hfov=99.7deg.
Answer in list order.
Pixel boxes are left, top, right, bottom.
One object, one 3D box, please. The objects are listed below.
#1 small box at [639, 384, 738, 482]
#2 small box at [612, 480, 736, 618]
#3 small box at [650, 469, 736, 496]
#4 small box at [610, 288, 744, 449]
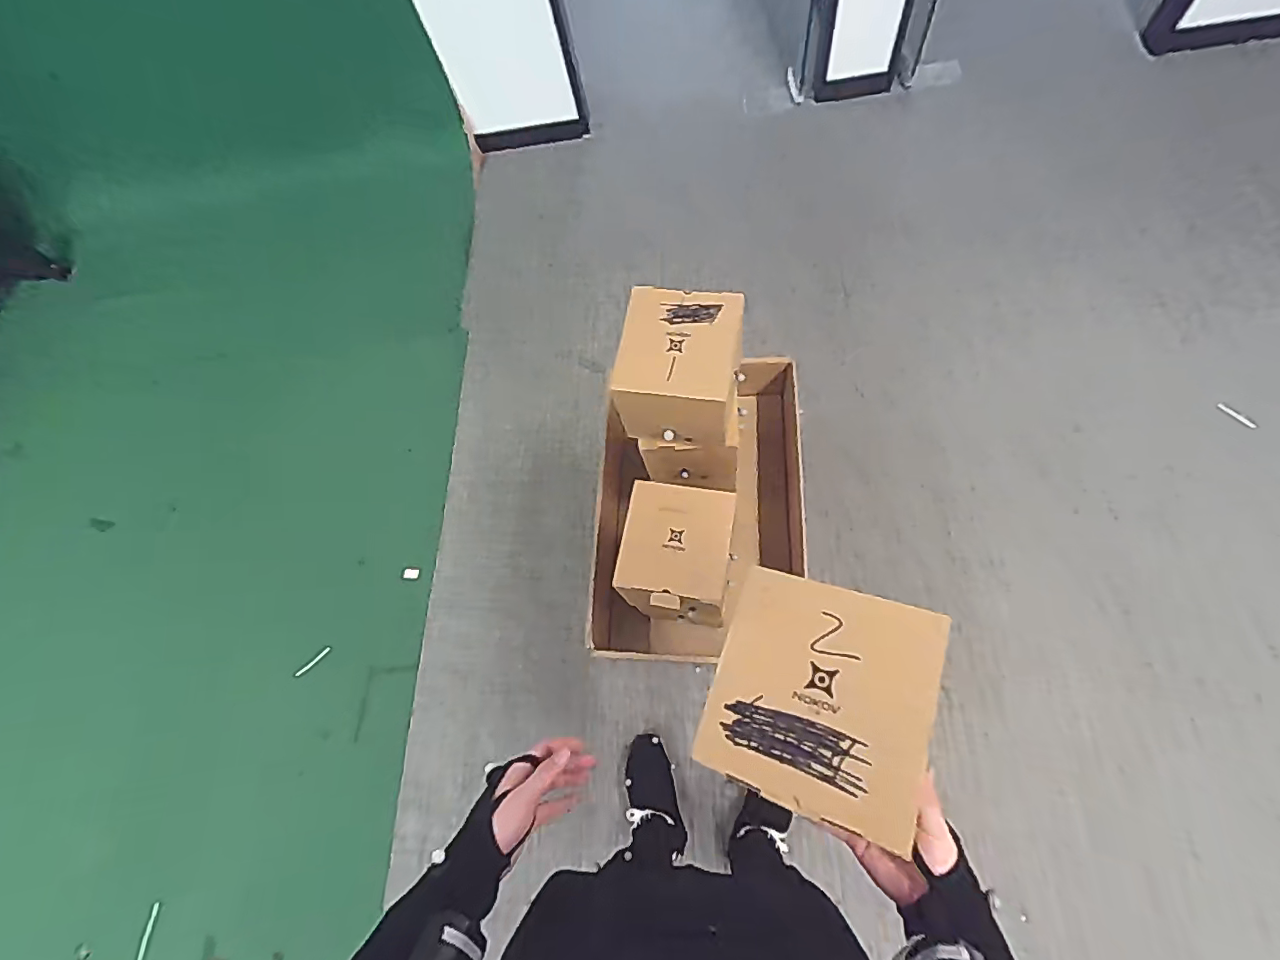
[{"bbox_3d":[0.091,-0.106,0.986,0.168,0.176,0.179,-1,70,8],"label":"small box"},{"bbox_3d":[0.064,0.120,0.894,0.168,0.176,0.179,8,68,12],"label":"small box"},{"bbox_3d":[0.116,-0.051,1.137,0.168,0.176,0.179,-1,70,9],"label":"small box"},{"bbox_3d":[0.063,-0.167,0.836,0.168,0.176,0.179,8,72,12],"label":"small box"}]
